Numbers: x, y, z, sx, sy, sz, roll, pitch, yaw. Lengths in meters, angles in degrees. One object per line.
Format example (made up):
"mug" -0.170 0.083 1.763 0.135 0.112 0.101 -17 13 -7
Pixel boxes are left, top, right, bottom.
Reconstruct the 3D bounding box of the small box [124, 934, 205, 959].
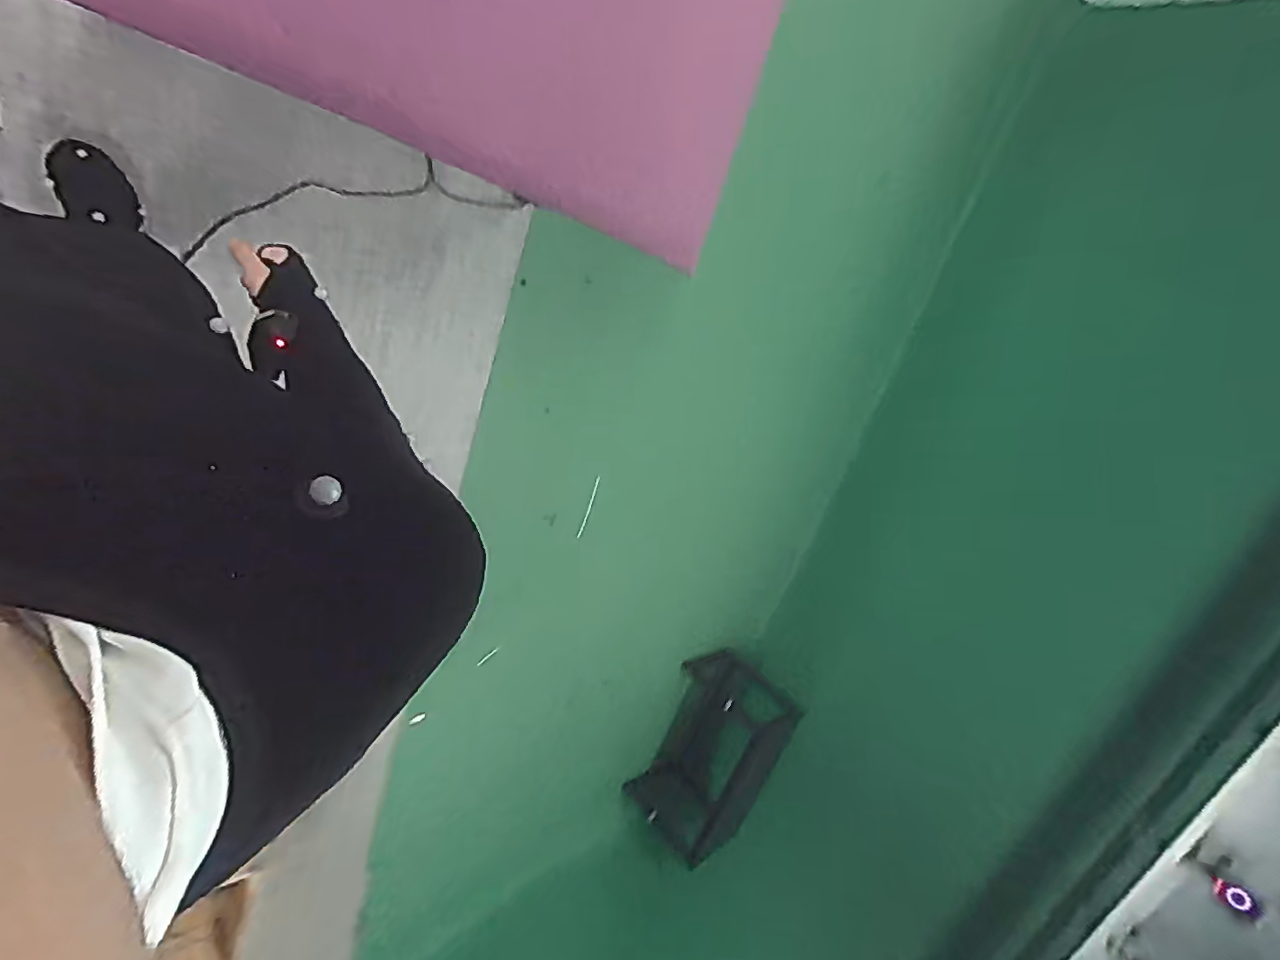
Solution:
"small box" -1.110 1.195 1.233 0.168 0.176 0.179 6 112 -48

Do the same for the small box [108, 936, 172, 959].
"small box" -1.314 1.350 1.396 0.168 0.176 0.179 5 111 -49
